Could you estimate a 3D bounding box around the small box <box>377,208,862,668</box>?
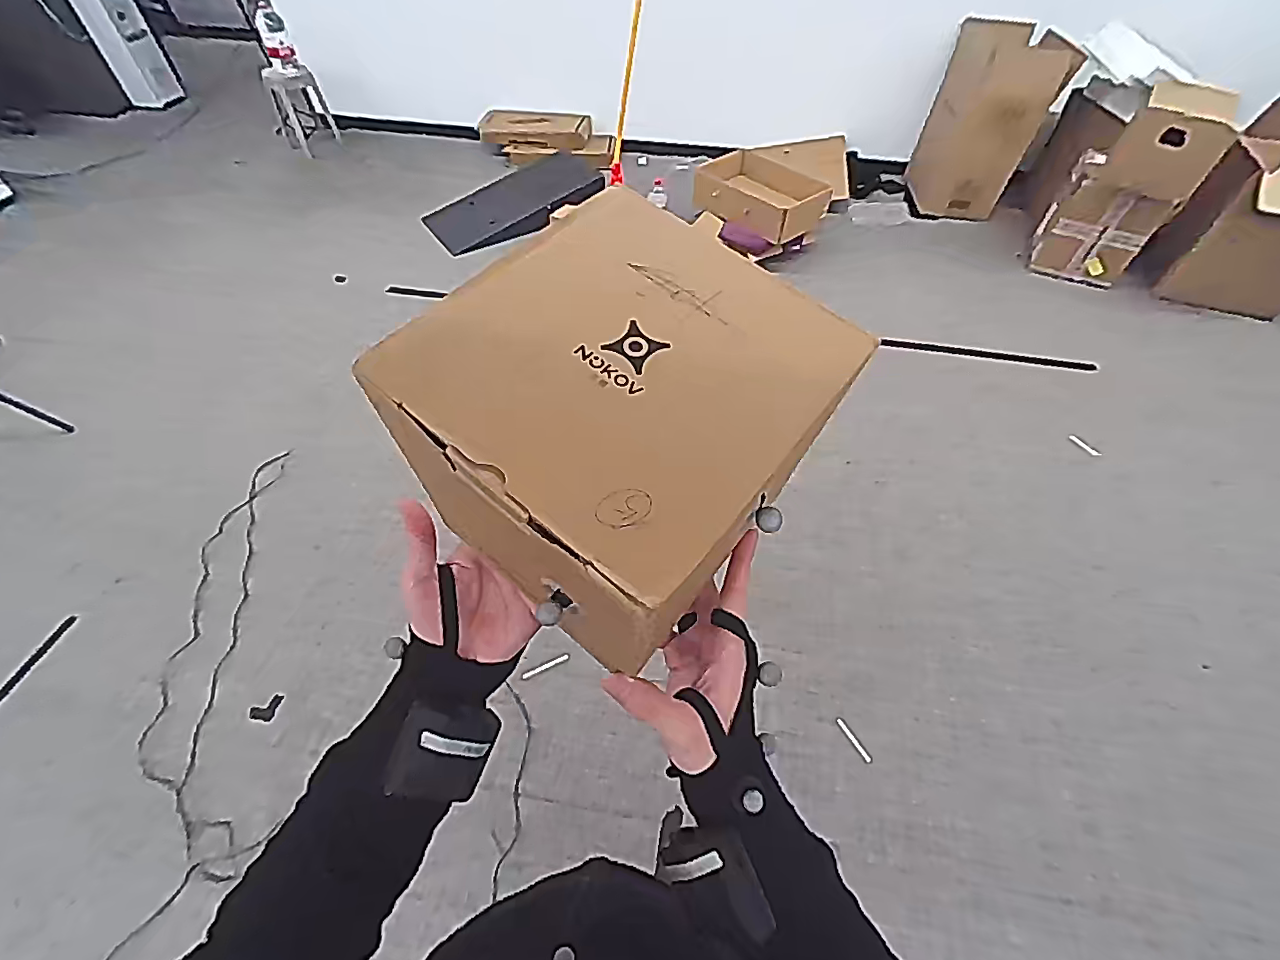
[{"bbox_3d":[-0.009,-0.014,0.324,0.168,0.176,0.179,37,64,14],"label":"small box"}]
